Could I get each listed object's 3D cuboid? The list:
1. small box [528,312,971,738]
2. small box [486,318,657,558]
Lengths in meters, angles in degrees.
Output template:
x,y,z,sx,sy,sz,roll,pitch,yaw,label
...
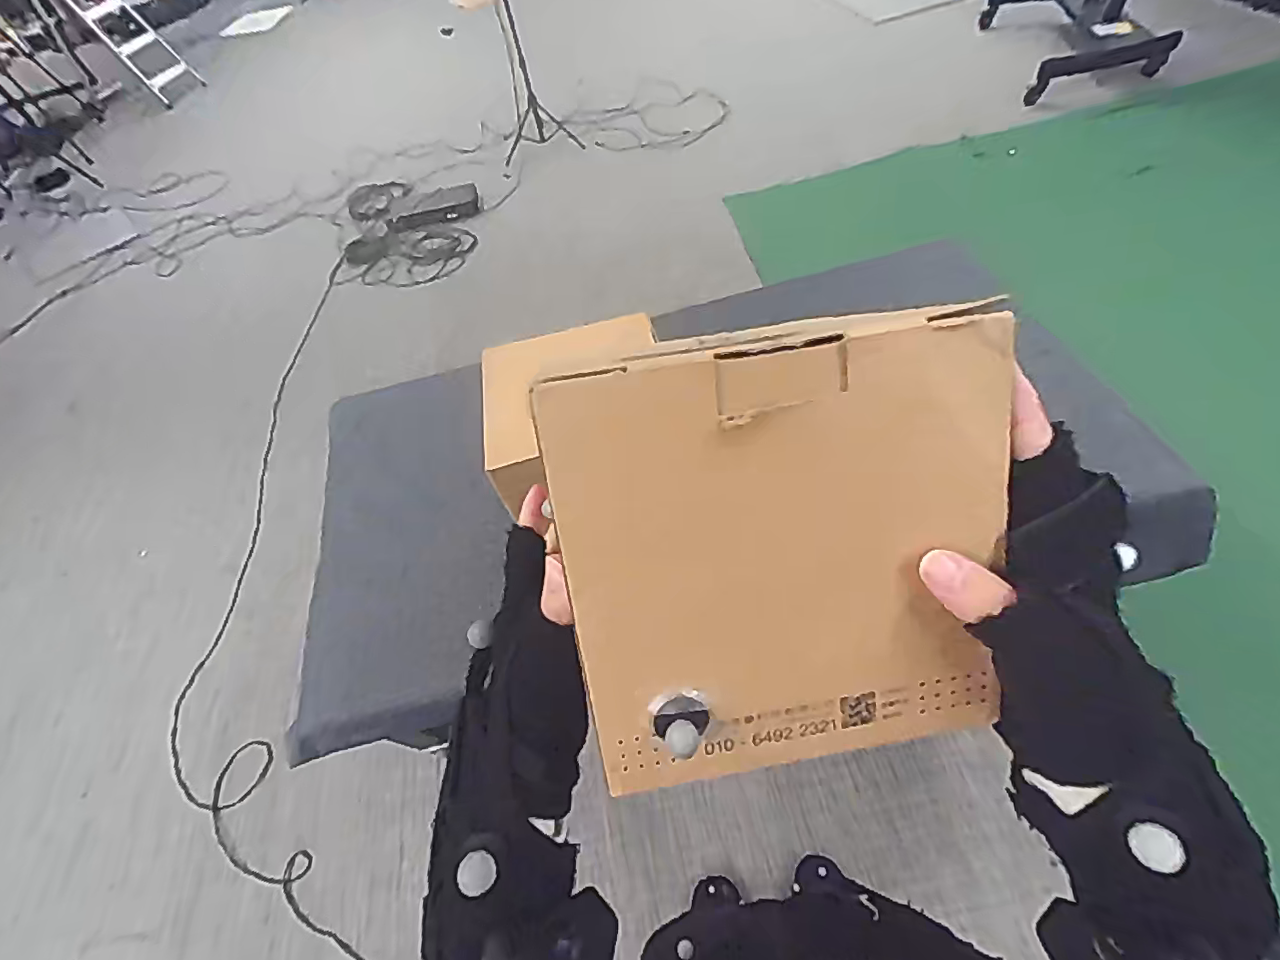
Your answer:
x,y,z,sx,sy,sz,roll,pitch,yaw,label
0.045,0.012,0.290,0.168,0.176,0.179,-9,15,-4,small box
-0.050,-0.039,0.578,0.179,0.176,0.168,-14,52,0,small box
